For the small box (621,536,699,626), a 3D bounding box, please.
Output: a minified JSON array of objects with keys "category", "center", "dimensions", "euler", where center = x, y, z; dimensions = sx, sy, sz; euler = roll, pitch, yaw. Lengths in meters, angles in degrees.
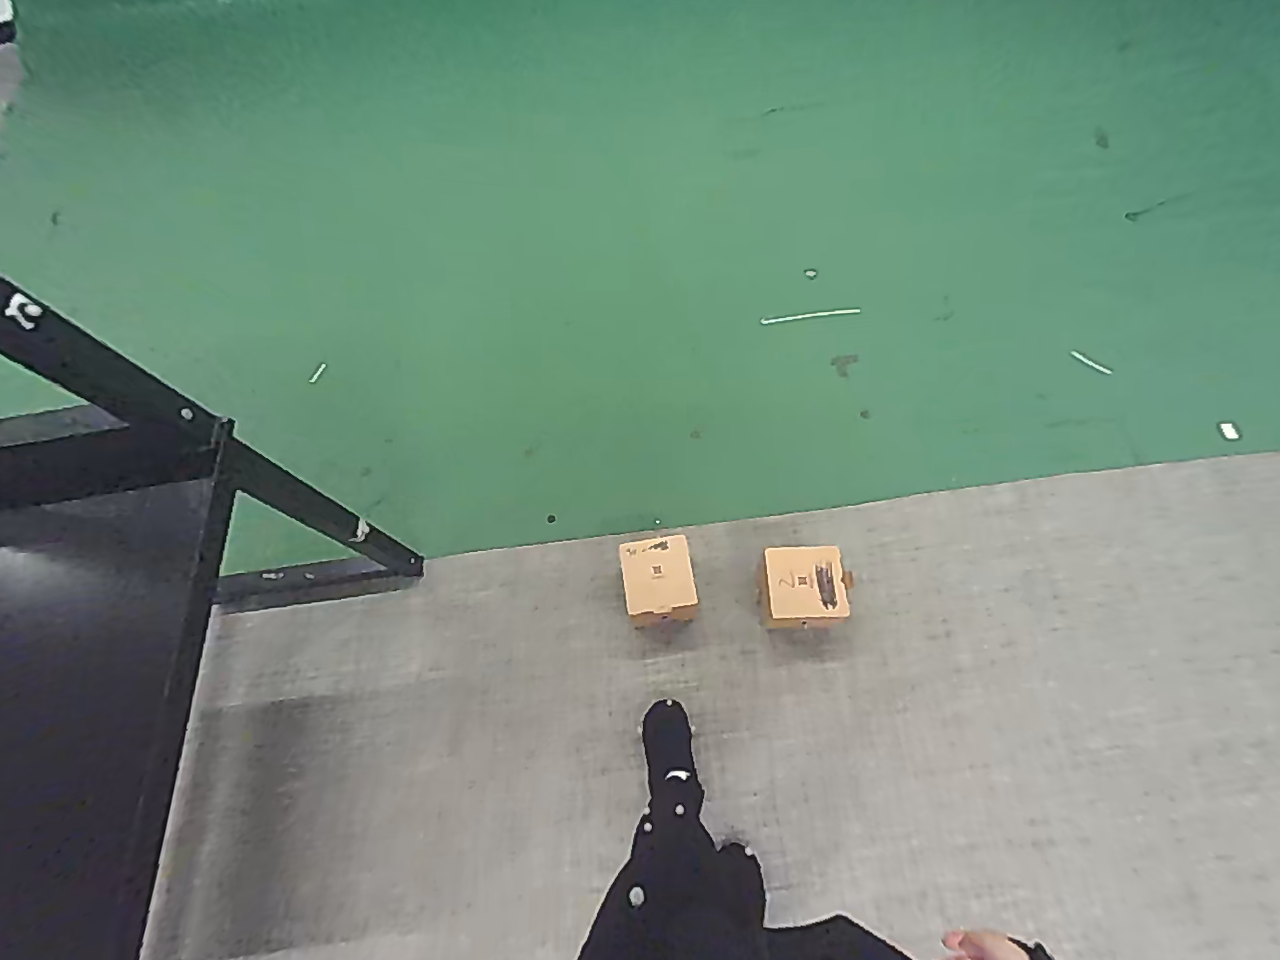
[{"category":"small box","center":[0.052,0.255,1.330],"dimensions":[0.168,0.176,0.179],"euler":[-9,66,1]}]
